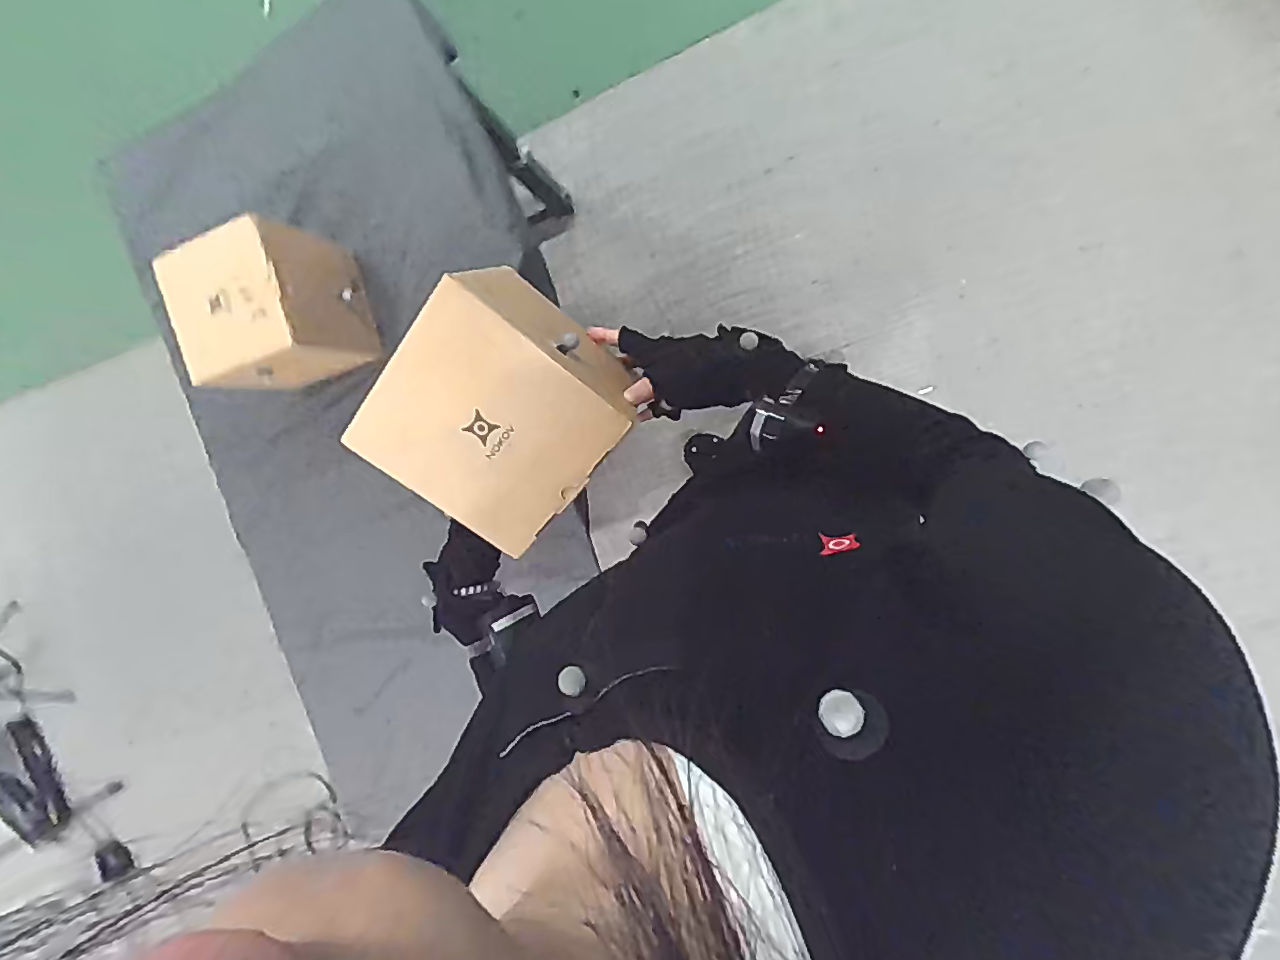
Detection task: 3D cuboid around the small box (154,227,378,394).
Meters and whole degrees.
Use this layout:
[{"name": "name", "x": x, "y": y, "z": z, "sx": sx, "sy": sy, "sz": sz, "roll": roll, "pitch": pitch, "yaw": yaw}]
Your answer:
[{"name": "small box", "x": -0.514, "y": -0.222, "z": 0.764, "sx": 0.179, "sy": 0.176, "sz": 0.168, "roll": -15, "pitch": 94, "yaw": 14}]

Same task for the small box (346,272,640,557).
[{"name": "small box", "x": -0.117, "y": -0.069, "z": 0.500, "sx": 0.179, "sy": 0.176, "sz": 0.168, "roll": 39, "pitch": 108, "yaw": -15}]
